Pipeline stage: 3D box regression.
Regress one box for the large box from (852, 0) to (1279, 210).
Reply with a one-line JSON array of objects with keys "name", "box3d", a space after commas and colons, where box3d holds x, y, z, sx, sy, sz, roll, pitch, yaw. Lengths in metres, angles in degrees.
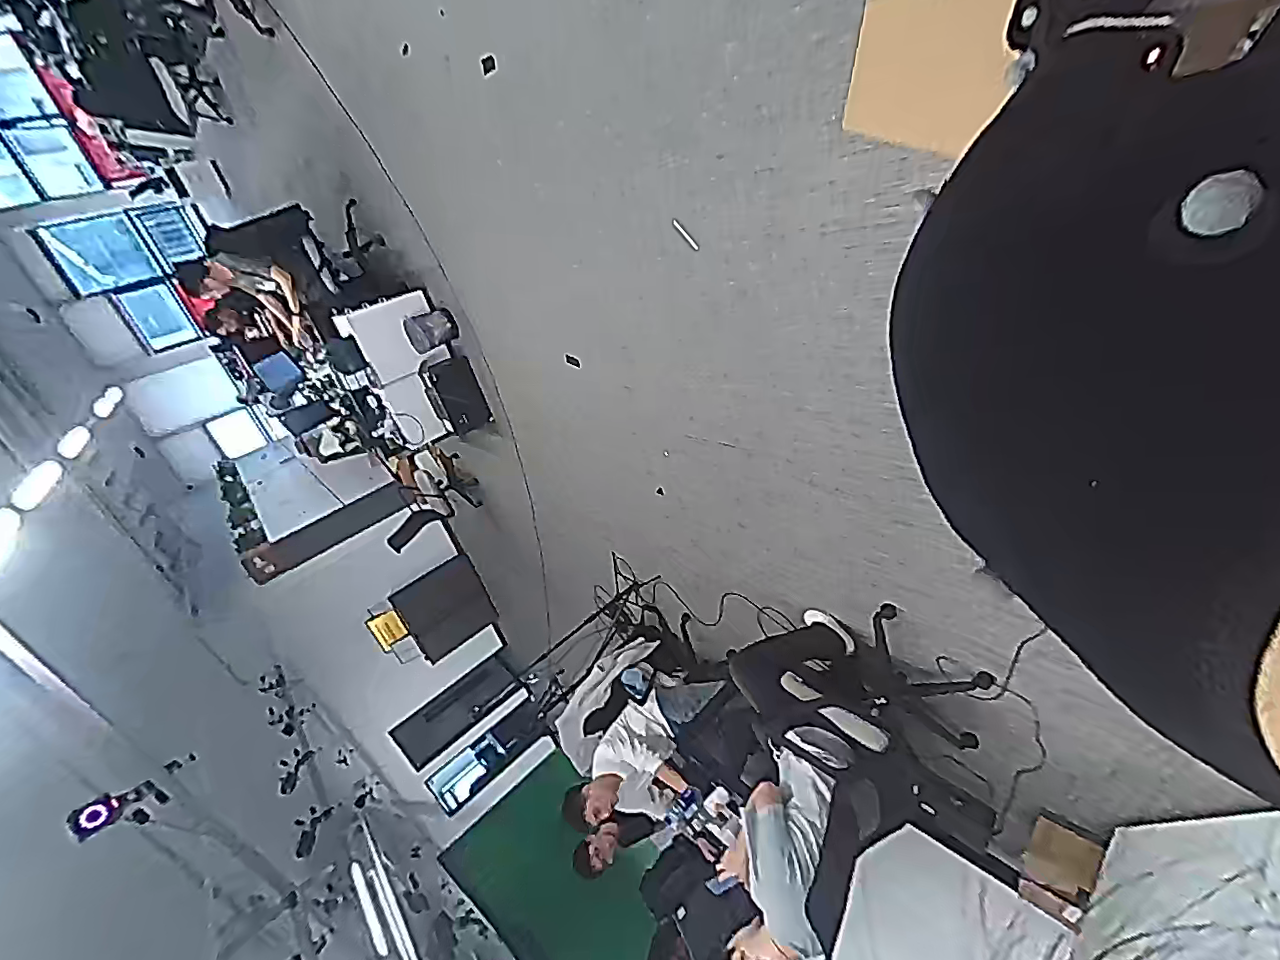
[{"name": "large box", "box3d": [0.536, -0.567, 0.658, 0.320, 0.408, 0.320, 48, 153, 39]}]
